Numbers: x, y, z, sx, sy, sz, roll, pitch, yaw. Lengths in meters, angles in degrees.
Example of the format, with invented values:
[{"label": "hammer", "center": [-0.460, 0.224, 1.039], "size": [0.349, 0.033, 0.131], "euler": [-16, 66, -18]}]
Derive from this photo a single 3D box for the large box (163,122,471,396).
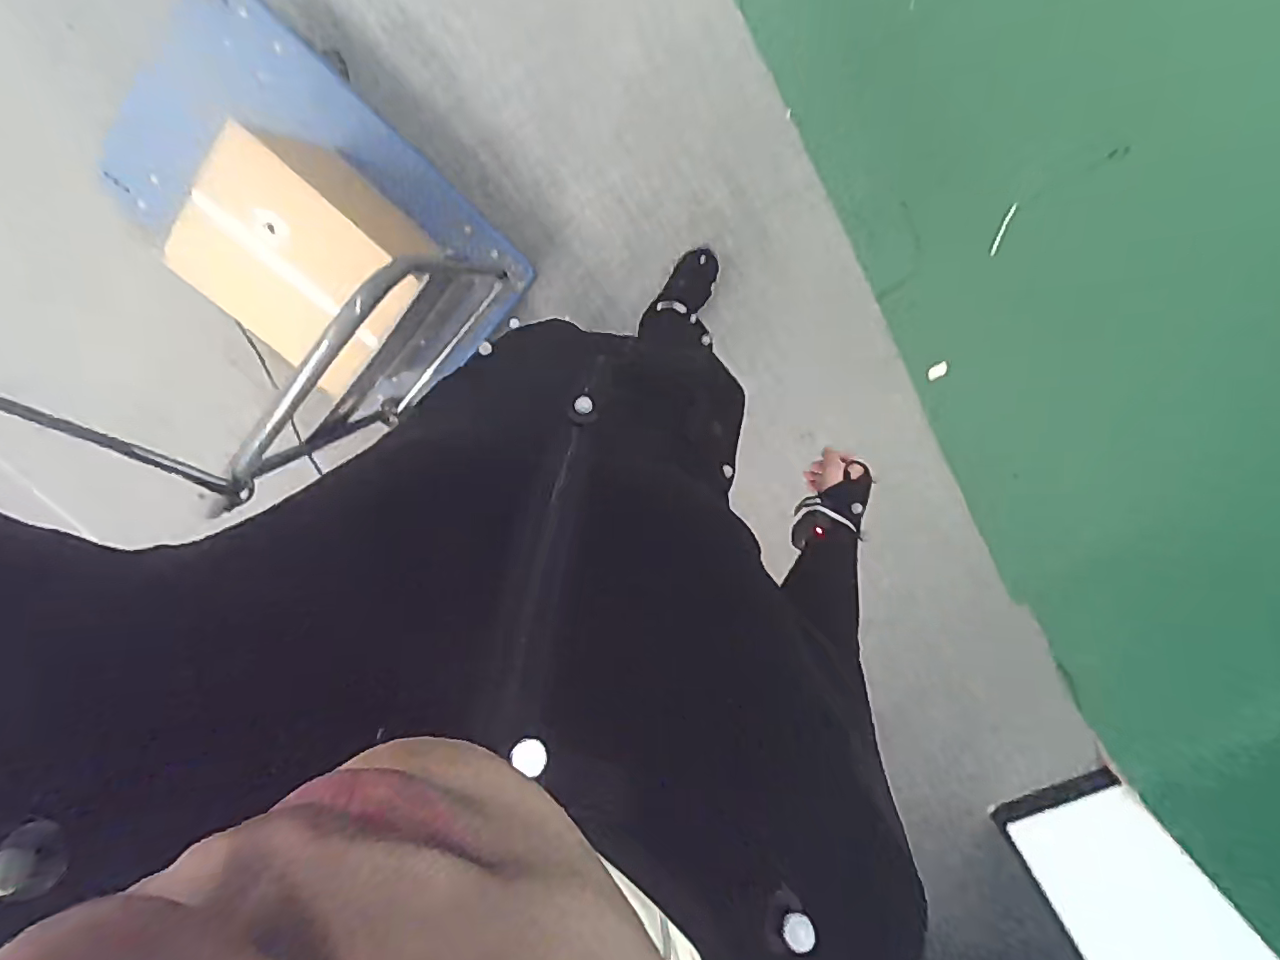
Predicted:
[{"label": "large box", "center": [-0.649, -0.452, 1.157], "size": [0.408, 0.320, 0.320], "euler": [42, 108, -14]}]
